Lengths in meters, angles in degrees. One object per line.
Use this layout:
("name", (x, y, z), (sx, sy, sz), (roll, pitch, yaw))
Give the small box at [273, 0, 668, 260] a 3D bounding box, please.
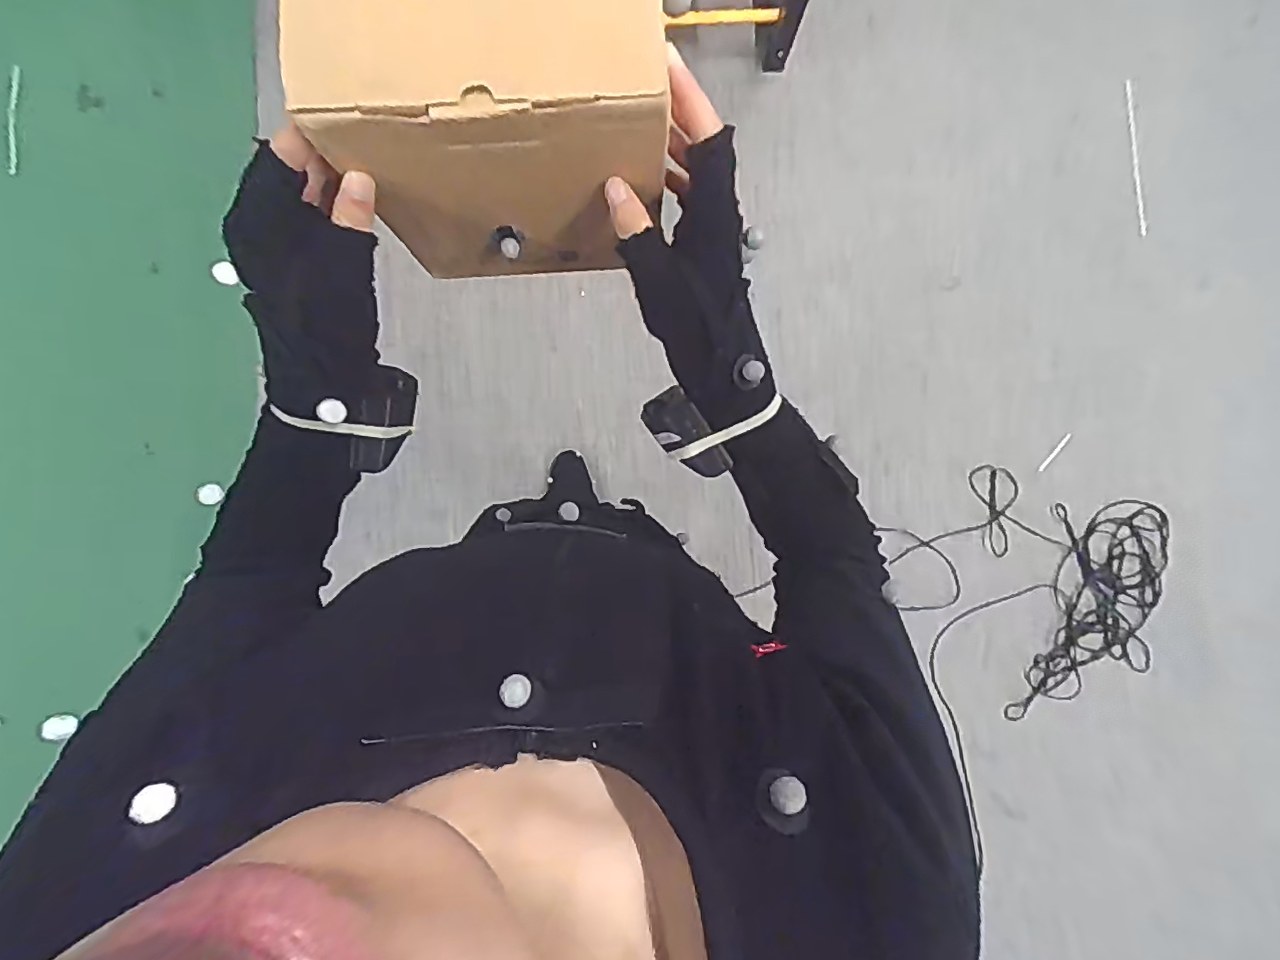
("small box", (-0.075, -0.250, 0.310), (0.168, 0.176, 0.179), (-4, 88, 0))
